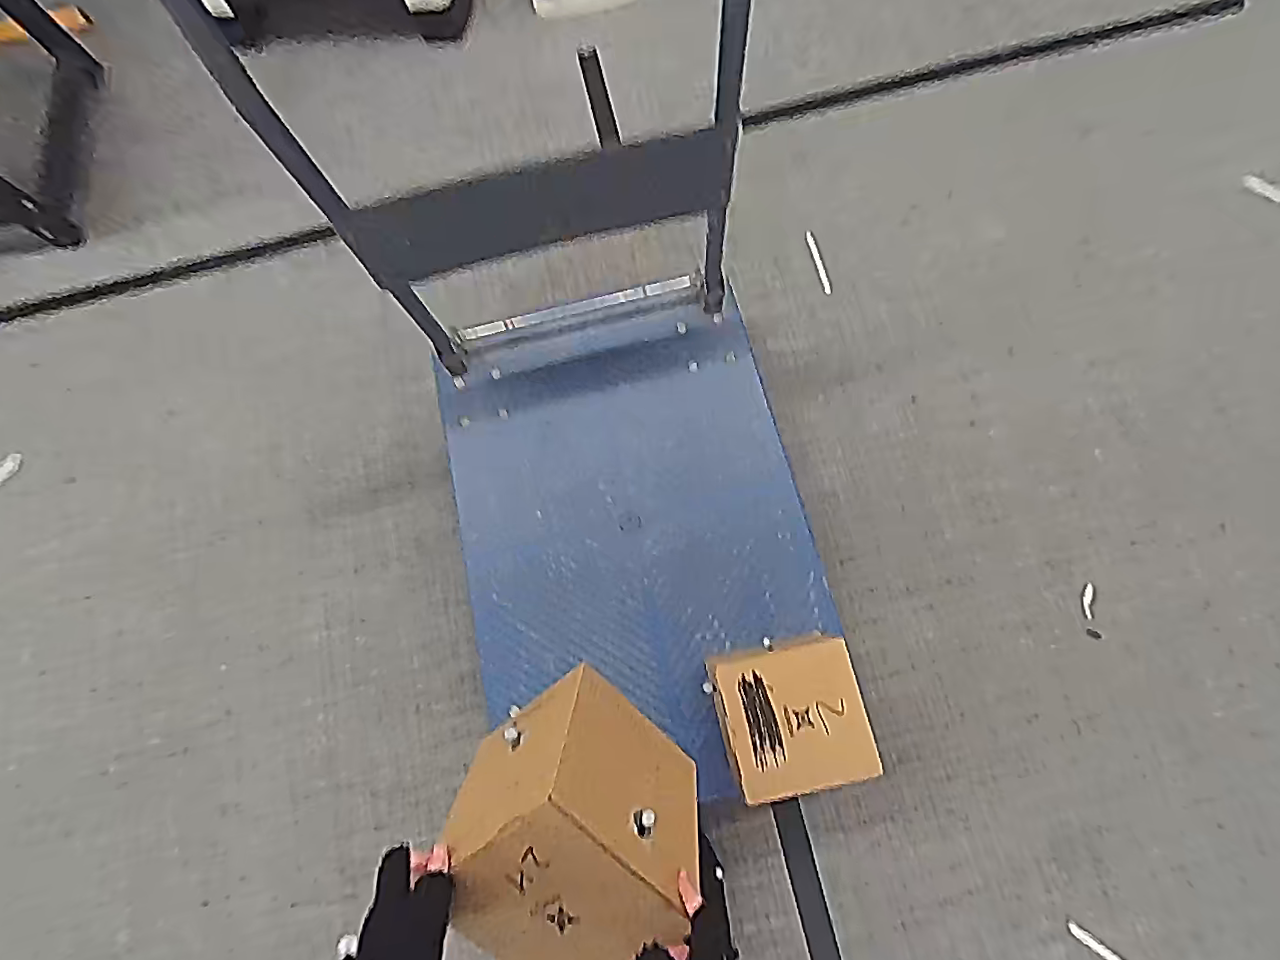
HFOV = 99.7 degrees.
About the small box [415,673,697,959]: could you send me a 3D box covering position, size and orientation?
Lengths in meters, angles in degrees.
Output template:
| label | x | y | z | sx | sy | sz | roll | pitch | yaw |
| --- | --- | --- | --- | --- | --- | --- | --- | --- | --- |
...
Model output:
| label | x | y | z | sx | sy | sz | roll | pitch | yaw |
| --- | --- | --- | --- | --- | --- | --- | --- | --- | --- |
| small box | -0.063 | 0.324 | 0.512 | 0.168 | 0.176 | 0.179 | -42 | 100 | 15 |
